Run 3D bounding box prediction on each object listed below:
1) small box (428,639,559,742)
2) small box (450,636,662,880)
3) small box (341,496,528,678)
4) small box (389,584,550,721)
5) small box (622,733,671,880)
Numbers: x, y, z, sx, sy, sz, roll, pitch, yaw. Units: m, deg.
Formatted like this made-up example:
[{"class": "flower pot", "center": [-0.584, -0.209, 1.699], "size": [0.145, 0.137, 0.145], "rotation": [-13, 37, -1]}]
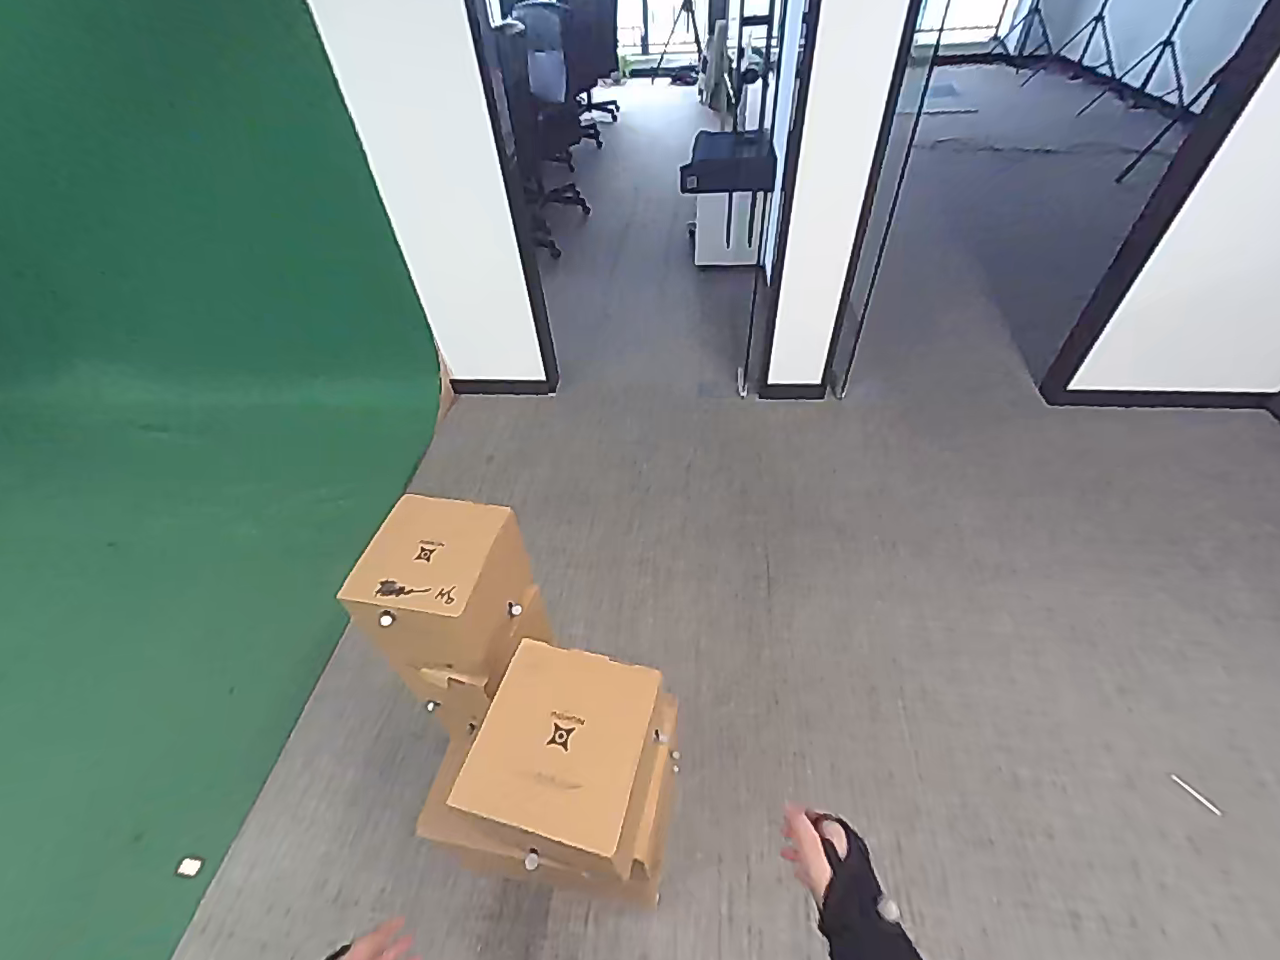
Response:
[{"class": "small box", "center": [-0.247, 0.386, 0.990], "size": [0.179, 0.176, 0.168], "rotation": [11, 48, 13]}, {"class": "small box", "center": [-0.076, 0.307, 0.600], "size": [0.168, 0.176, 0.179], "rotation": [10, 48, 13]}, {"class": "small box", "center": [-0.269, 0.150, 0.761], "size": [0.168, 0.176, 0.179], "rotation": [6, 46, 10]}, {"class": "small box", "center": [-0.259, 0.270, 0.874], "size": [0.168, 0.176, 0.179], "rotation": [12, 47, 15]}, {"class": "small box", "center": [-0.041, 0.510, 0.856], "size": [0.168, 0.176, 0.179], "rotation": [4, 46, 8]}]
